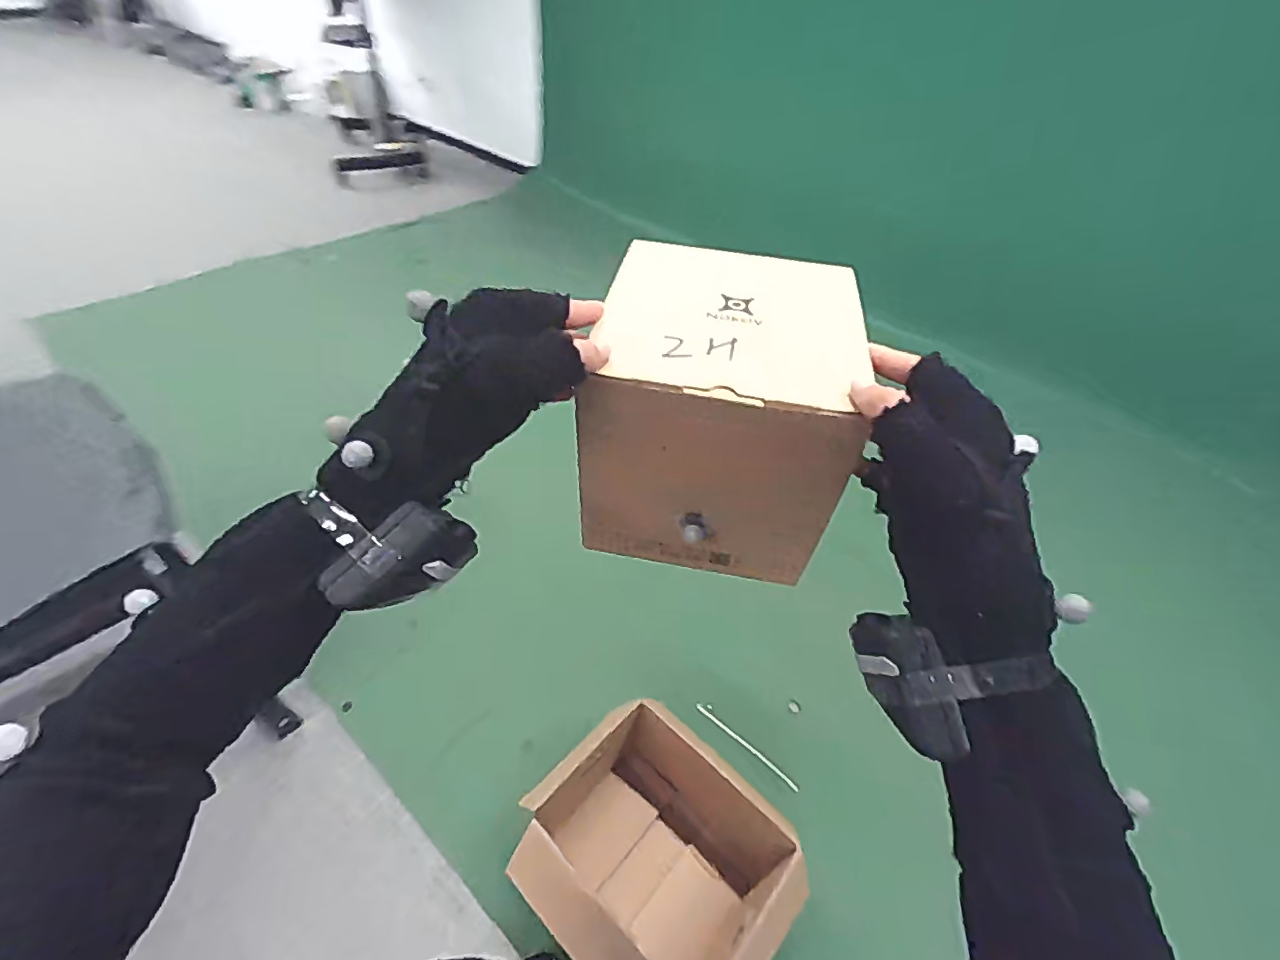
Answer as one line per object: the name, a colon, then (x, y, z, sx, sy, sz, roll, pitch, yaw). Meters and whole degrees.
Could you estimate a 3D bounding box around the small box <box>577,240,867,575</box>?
small box: (0.053, -0.055, 0.412, 0.168, 0.176, 0.179, 9, 48, 5)
